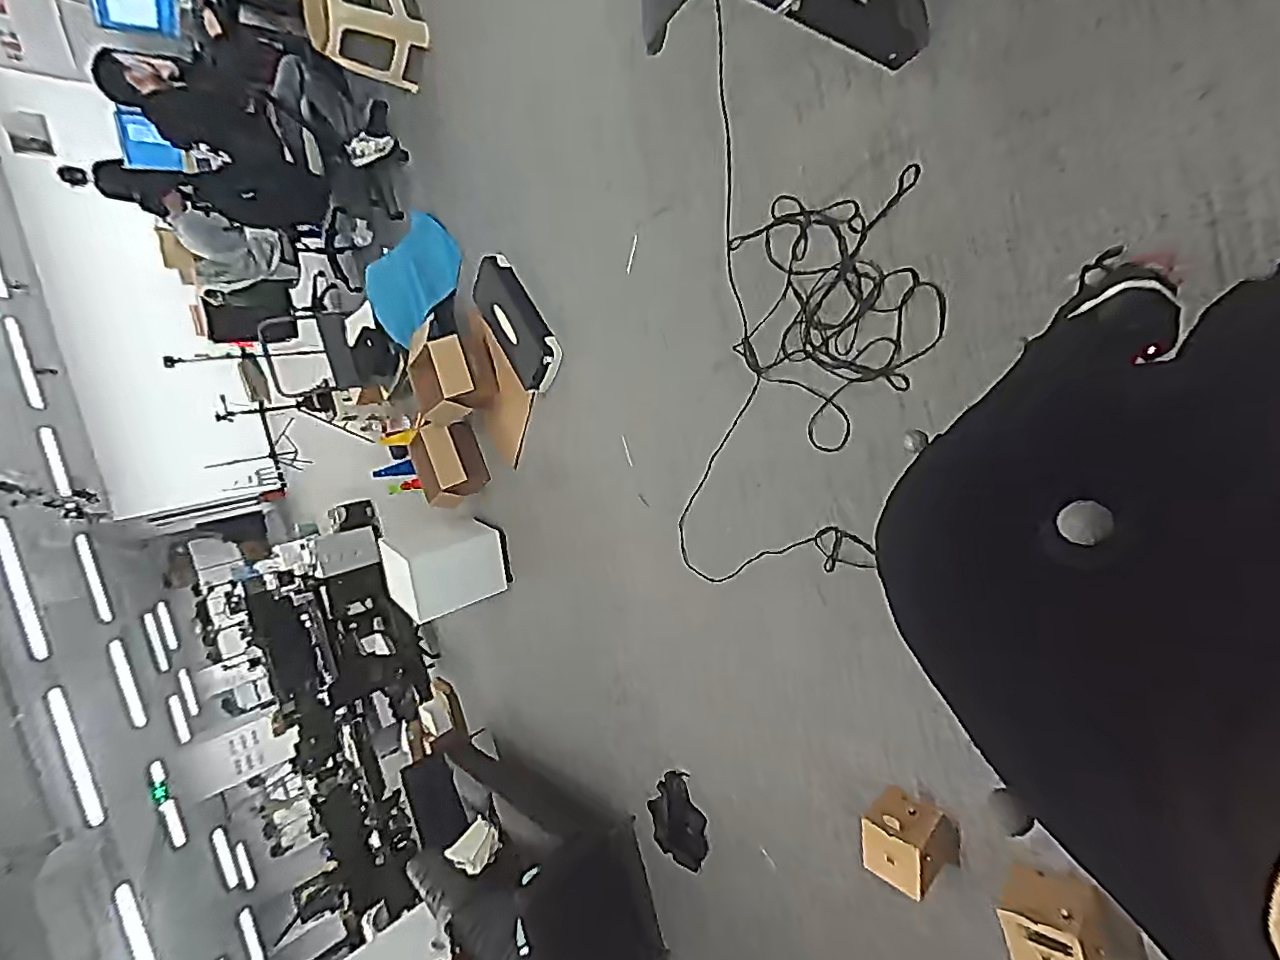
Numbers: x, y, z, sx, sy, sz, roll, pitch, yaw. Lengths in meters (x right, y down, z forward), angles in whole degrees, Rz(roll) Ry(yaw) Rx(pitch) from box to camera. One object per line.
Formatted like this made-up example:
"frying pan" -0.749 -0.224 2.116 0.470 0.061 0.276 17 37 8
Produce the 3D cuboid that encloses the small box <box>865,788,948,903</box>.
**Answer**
"small box" 0.770 1.043 1.558 0.168 0.176 0.179 7 109 50
